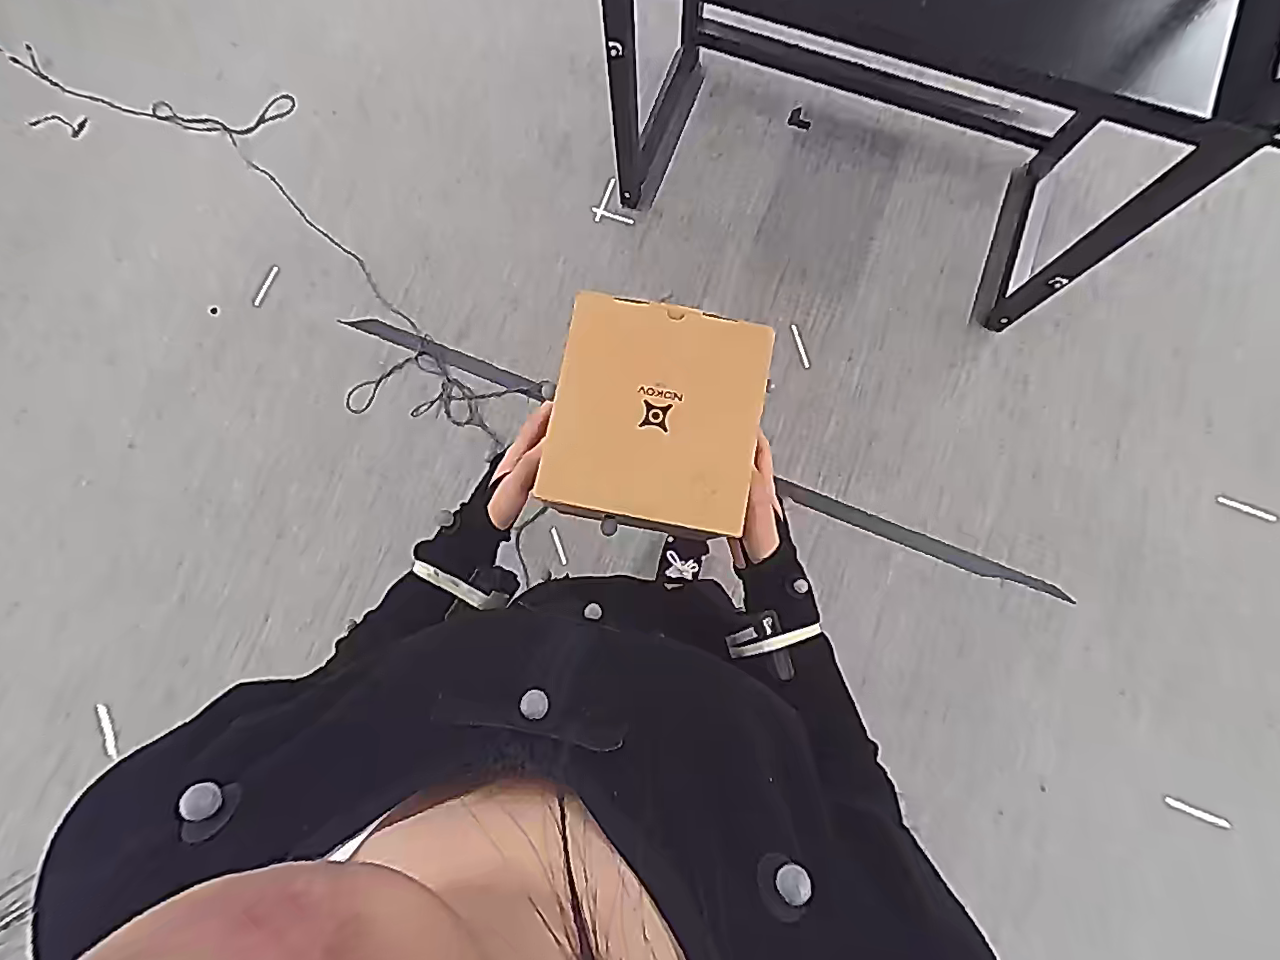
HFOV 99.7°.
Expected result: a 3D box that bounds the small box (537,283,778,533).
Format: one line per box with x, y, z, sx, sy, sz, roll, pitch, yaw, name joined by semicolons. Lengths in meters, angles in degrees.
0.014;-0.050;0.503;0.168;0.176;0.179;11;81;0;small box
